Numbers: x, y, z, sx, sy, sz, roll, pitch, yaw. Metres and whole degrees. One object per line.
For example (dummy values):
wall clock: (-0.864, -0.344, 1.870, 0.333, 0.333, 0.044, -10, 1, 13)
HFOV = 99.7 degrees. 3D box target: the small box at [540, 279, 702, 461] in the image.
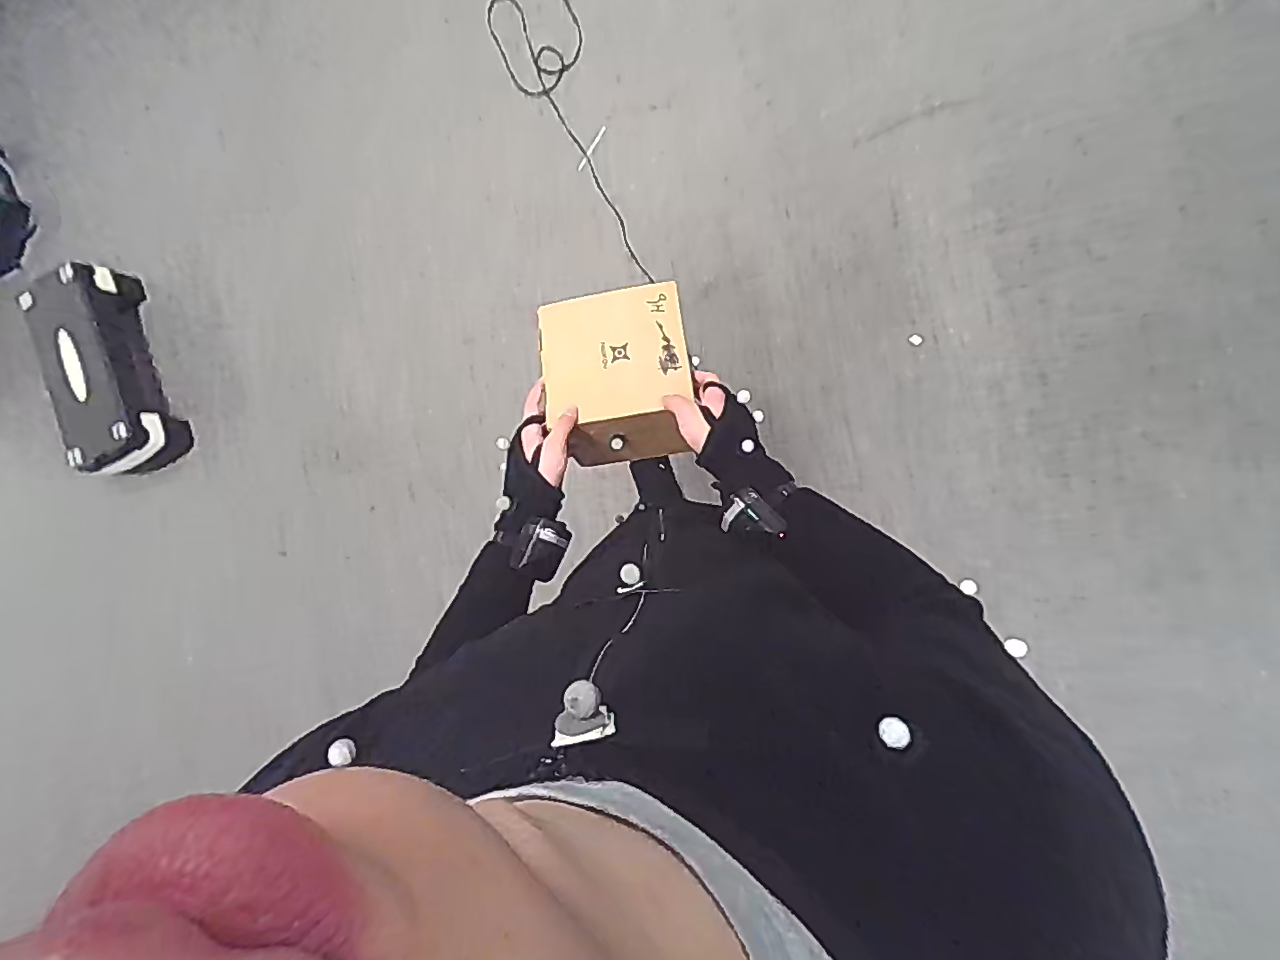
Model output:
small box: (-0.018, -0.132, 0.715, 0.179, 0.176, 0.168, -9, 74, 7)

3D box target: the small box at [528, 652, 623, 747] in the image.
small box: (-0.158, 0.546, 1.358, 0.179, 0.176, 0.168, -11, 89, 12)
